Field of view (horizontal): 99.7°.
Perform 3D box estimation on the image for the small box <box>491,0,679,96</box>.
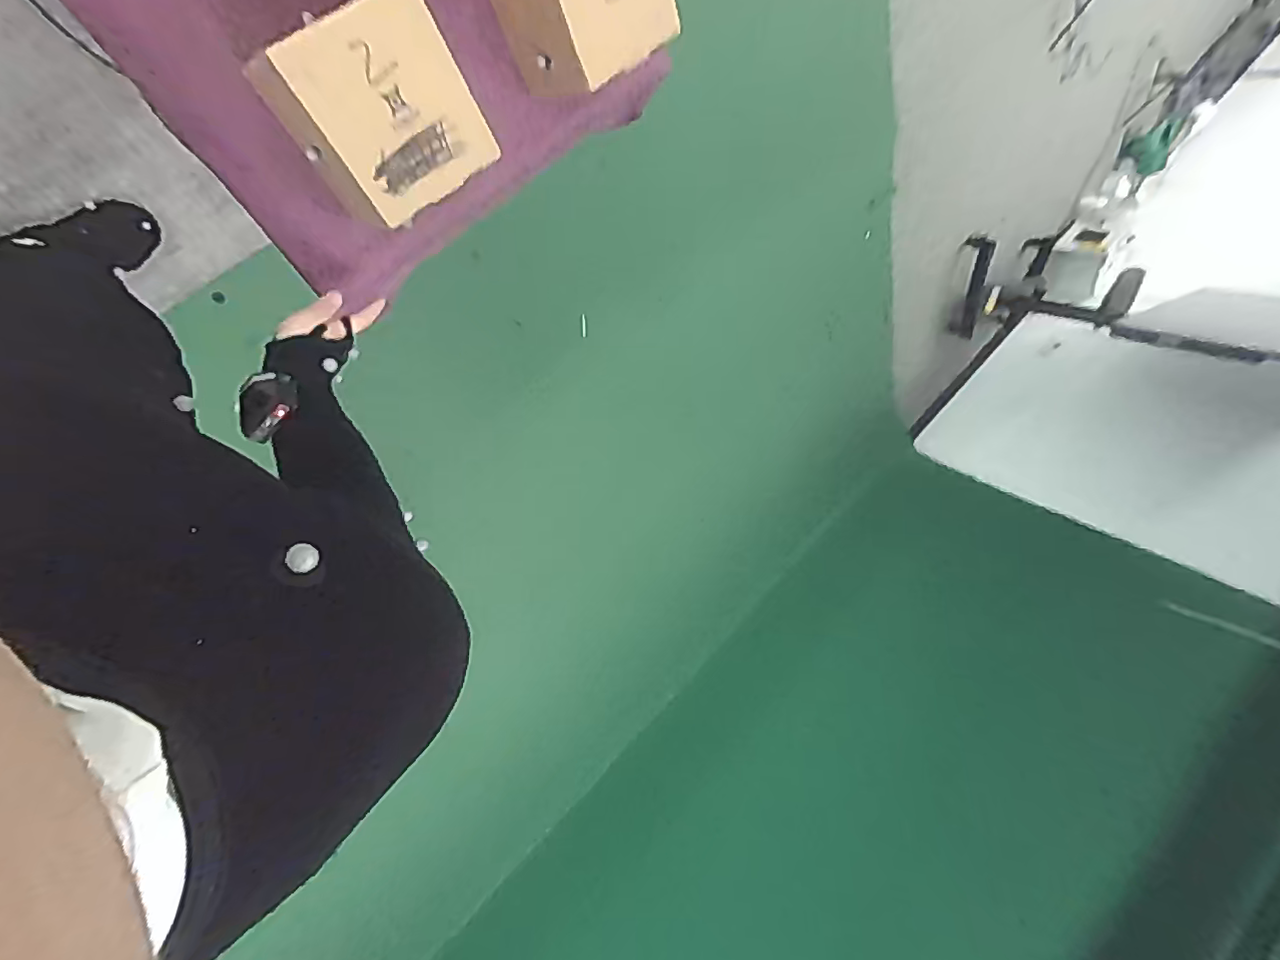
[{"bbox_3d":[-0.082,-0.628,0.695,0.168,0.176,0.179,-41,136,-13],"label":"small box"}]
